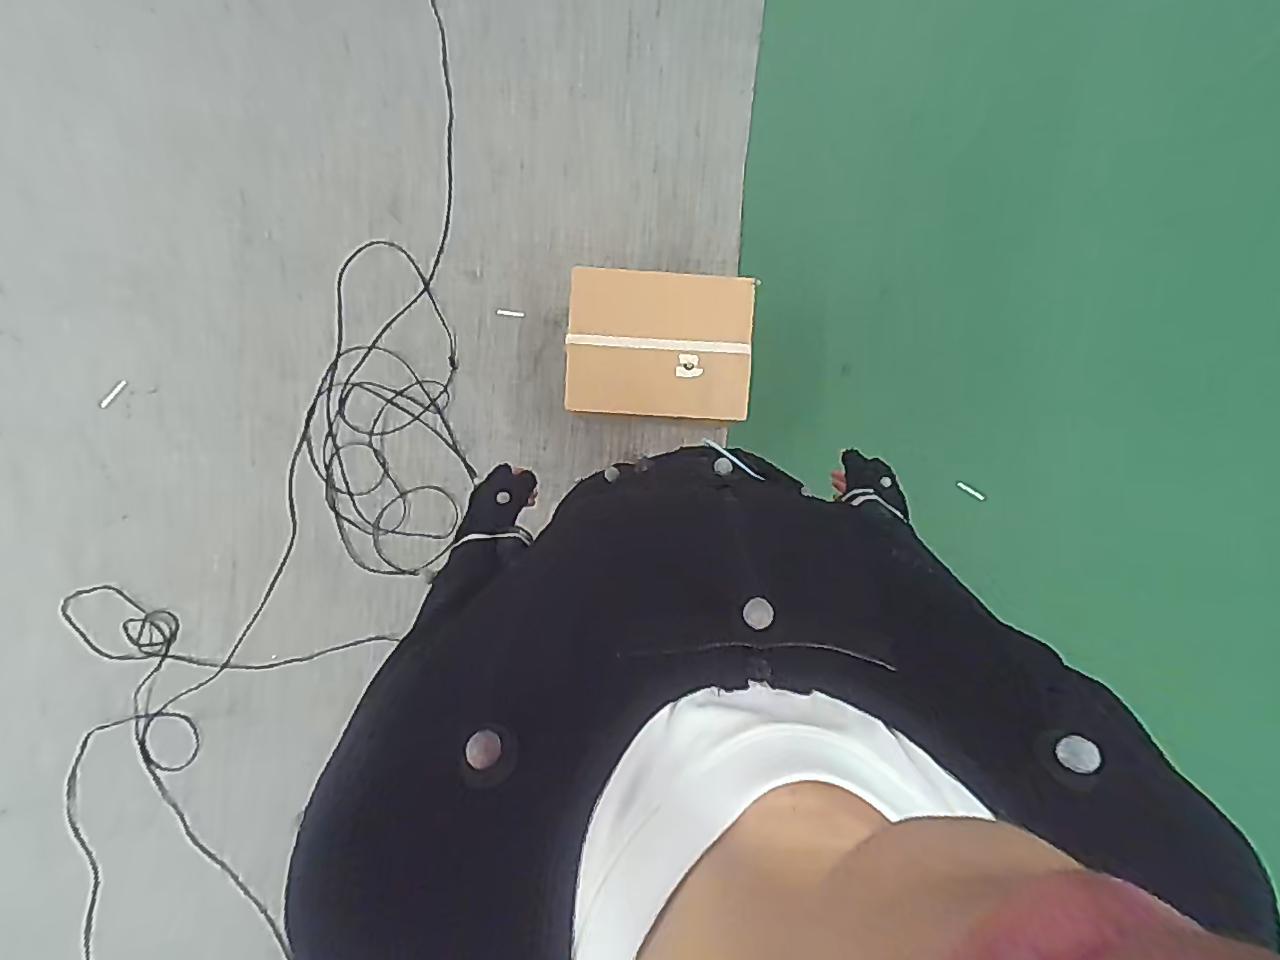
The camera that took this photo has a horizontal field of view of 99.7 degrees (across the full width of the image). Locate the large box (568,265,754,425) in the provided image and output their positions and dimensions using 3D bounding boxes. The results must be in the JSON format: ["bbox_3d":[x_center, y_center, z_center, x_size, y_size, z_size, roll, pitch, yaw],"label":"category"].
[{"bbox_3d":[0.040,-0.307,1.326,0.408,0.320,0.320,3,92,-2],"label":"large box"}]
